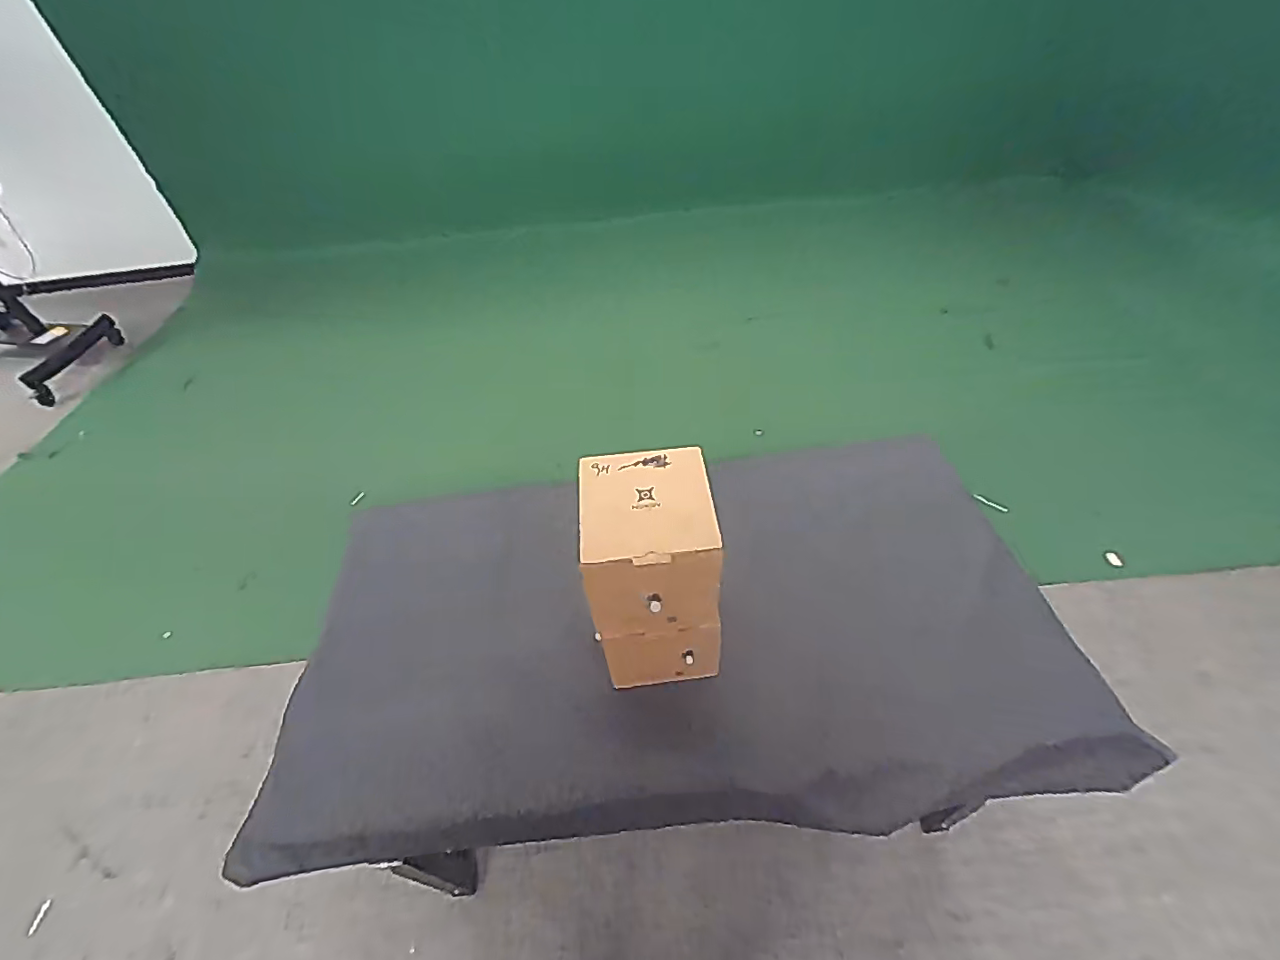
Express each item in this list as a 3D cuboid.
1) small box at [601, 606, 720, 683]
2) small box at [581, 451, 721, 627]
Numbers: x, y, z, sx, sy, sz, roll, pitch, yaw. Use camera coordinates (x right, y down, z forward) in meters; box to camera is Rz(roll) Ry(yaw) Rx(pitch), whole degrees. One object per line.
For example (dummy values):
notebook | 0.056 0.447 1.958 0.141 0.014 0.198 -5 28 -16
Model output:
small box | 0.027 0.201 0.845 0.168 0.176 0.179 -7 46 -2
small box | 0.013 0.085 0.730 0.168 0.176 0.179 -5 48 -1
